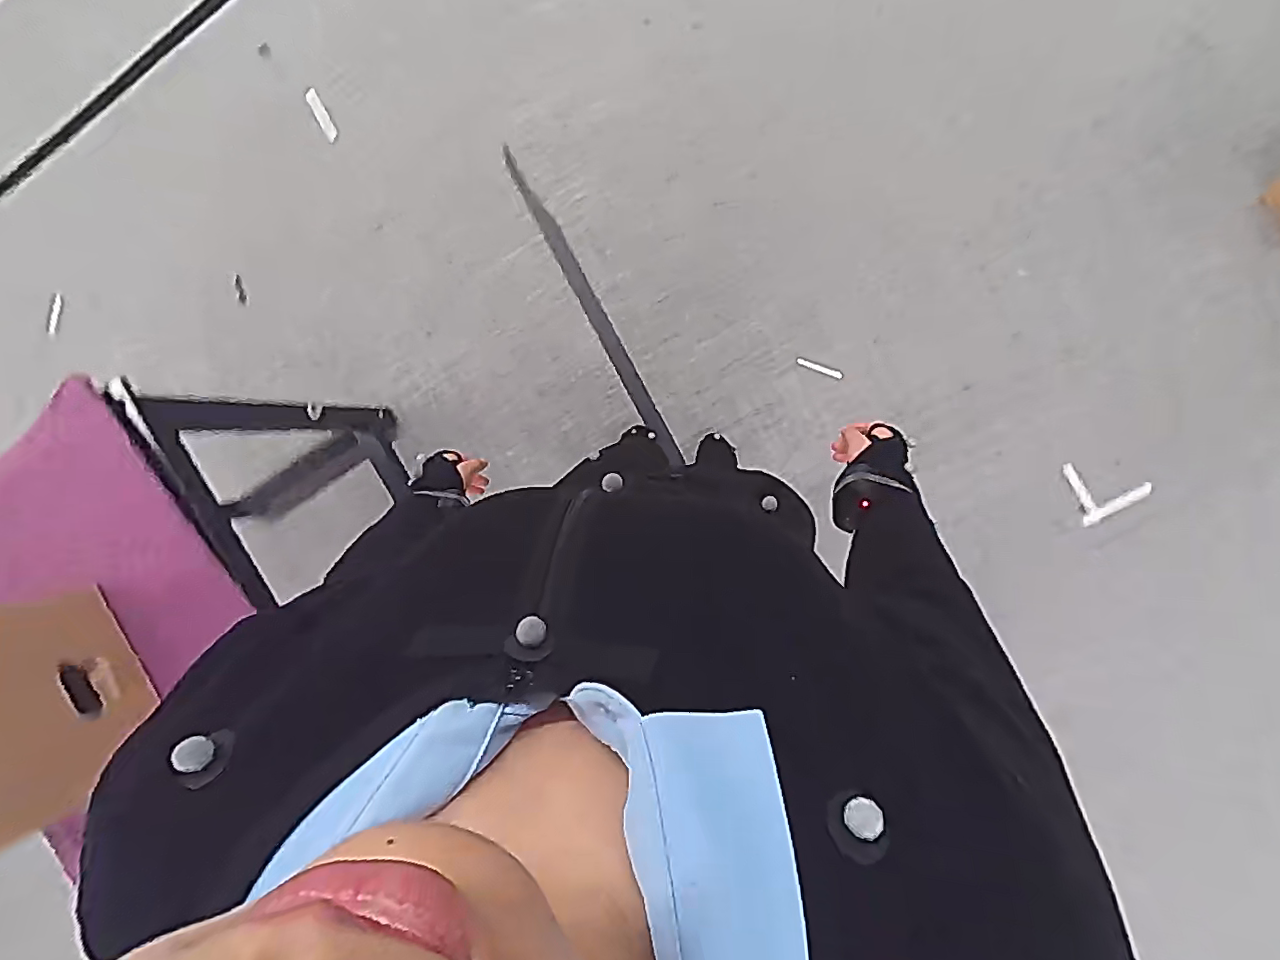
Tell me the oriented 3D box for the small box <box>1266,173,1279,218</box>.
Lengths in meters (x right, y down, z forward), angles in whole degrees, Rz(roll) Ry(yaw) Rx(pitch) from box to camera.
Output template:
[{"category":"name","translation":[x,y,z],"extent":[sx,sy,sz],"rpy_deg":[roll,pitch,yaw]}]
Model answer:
[{"category":"small box","translation":[1.512,-0.640,1.145],"extent":[0.179,0.176,0.168],"rpy_deg":[-33,90,9]}]
